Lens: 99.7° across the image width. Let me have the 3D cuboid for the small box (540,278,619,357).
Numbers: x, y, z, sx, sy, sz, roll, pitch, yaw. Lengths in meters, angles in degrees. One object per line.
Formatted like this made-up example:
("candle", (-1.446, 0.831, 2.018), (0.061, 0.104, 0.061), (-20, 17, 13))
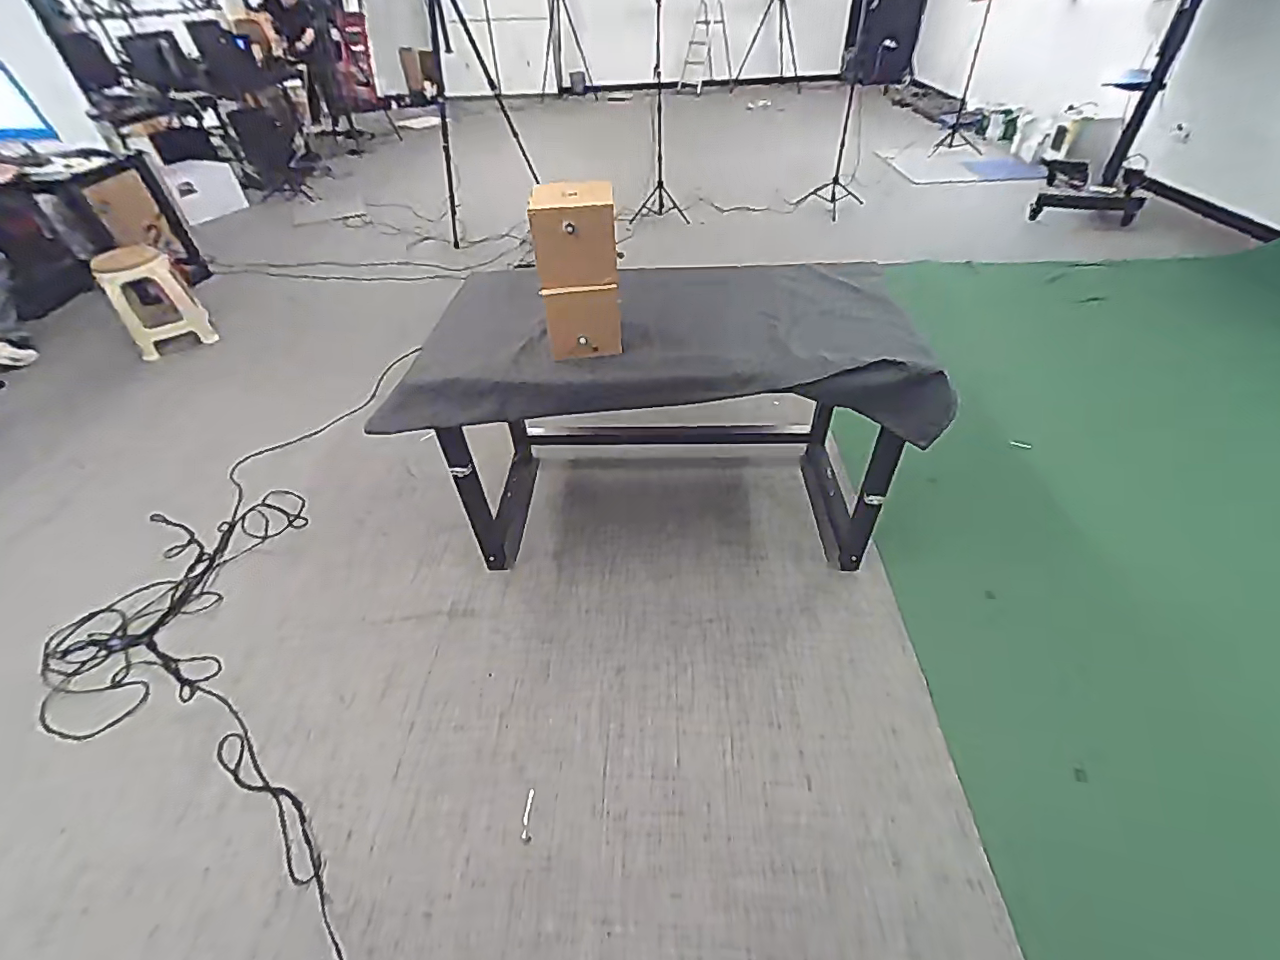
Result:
("small box", (-0.143, -0.412, 1.281), (0.168, 0.176, 0.179), (-7, 44, -5))

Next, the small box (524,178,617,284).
("small box", (-0.145, -0.540, 1.181), (0.179, 0.176, 0.168), (-4, 45, -3))
